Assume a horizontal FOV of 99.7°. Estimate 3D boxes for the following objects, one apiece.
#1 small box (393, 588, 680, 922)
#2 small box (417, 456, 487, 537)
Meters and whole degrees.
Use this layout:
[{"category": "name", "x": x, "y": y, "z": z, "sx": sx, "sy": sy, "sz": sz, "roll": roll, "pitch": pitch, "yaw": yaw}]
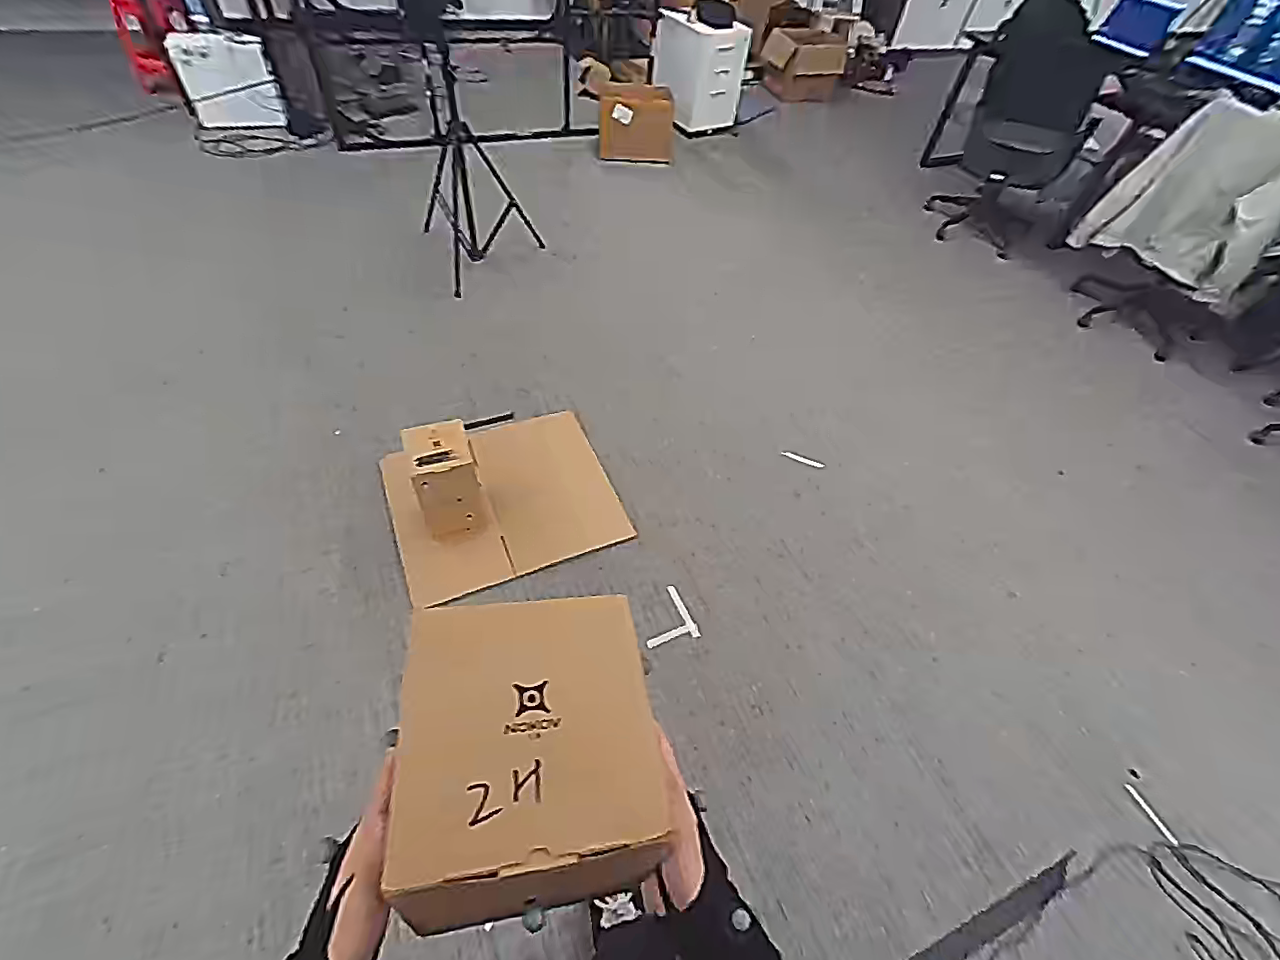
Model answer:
[{"category": "small box", "x": -0.083, "y": 0.207, "z": 0.420, "sx": 0.168, "sy": 0.176, "sz": 0.179, "roll": -1, "pitch": 45, "yaw": -15}, {"category": "small box", "x": -0.576, "y": 0.057, "z": 1.666, "sx": 0.168, "sy": 0.176, "sz": 0.179, "roll": -13, "pitch": 54, "yaw": -18}]
